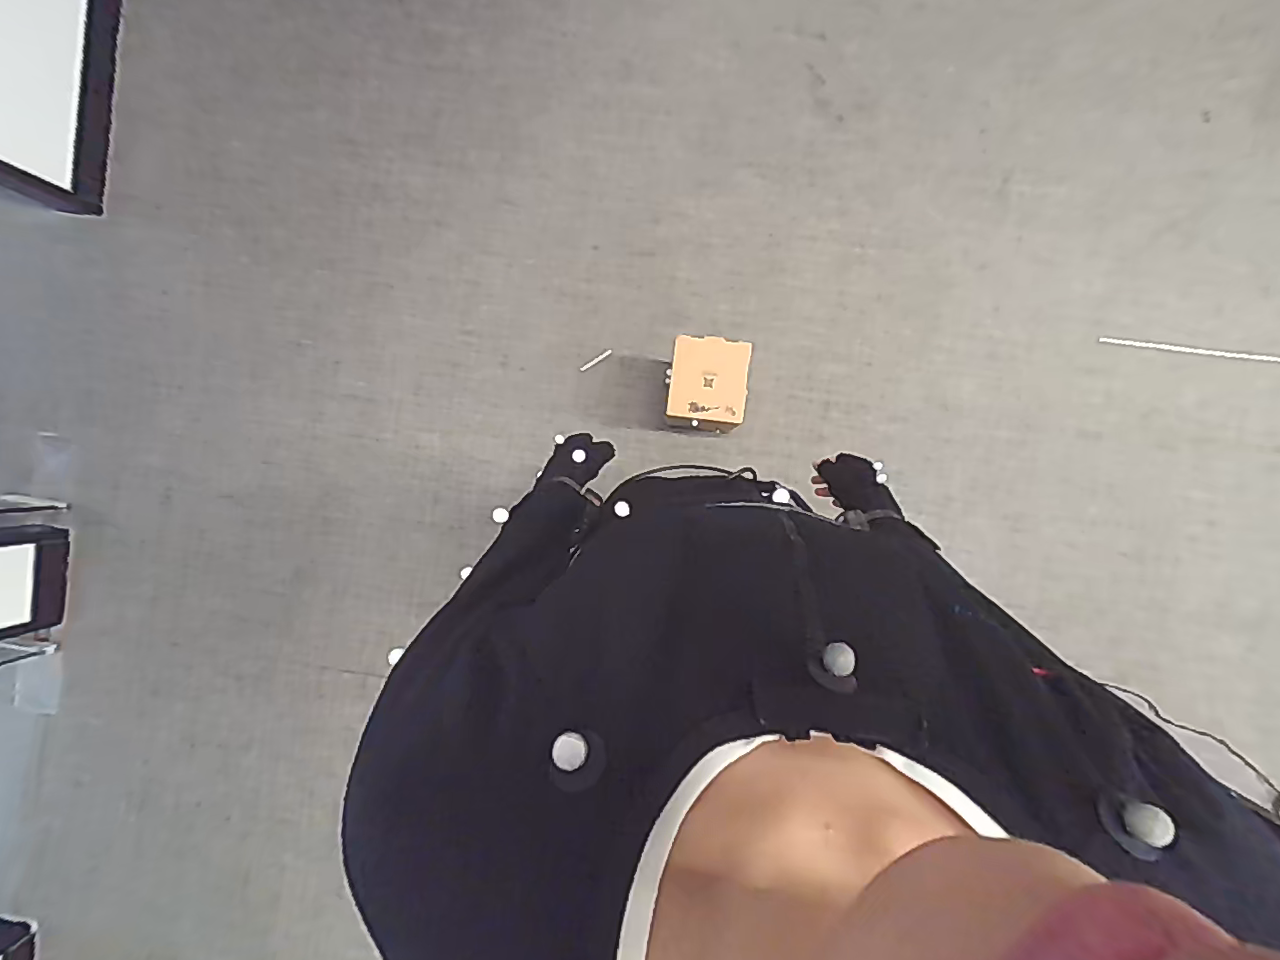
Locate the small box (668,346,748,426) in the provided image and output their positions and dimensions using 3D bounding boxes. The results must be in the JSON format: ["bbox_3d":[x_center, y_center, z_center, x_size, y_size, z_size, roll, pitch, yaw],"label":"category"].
[{"bbox_3d":[0.170,-0.235,1.389,0.179,0.176,0.168,8,92,3],"label":"small box"}]
